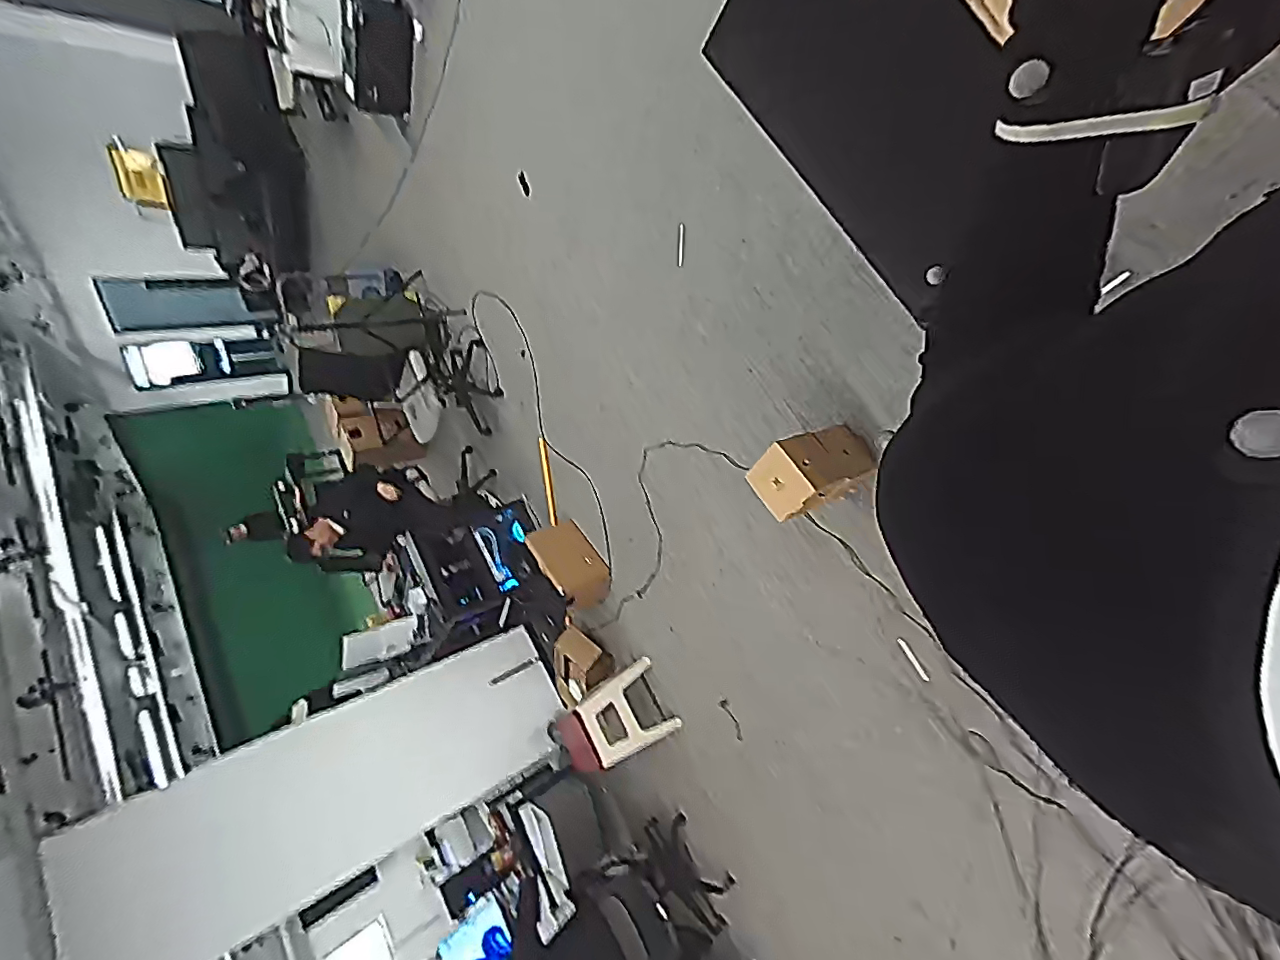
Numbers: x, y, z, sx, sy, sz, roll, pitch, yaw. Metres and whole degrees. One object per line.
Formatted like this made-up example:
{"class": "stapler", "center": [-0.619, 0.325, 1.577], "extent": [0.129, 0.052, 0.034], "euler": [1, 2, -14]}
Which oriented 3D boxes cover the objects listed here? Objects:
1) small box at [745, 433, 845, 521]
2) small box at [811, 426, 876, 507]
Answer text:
{"class": "small box", "center": [0.444, -0.014, 1.542], "extent": [0.179, 0.176, 0.168], "euler": [57, 139, 21]}
{"class": "small box", "center": [0.571, -0.047, 1.639], "extent": [0.179, 0.176, 0.168], "euler": [58, 140, 18]}
